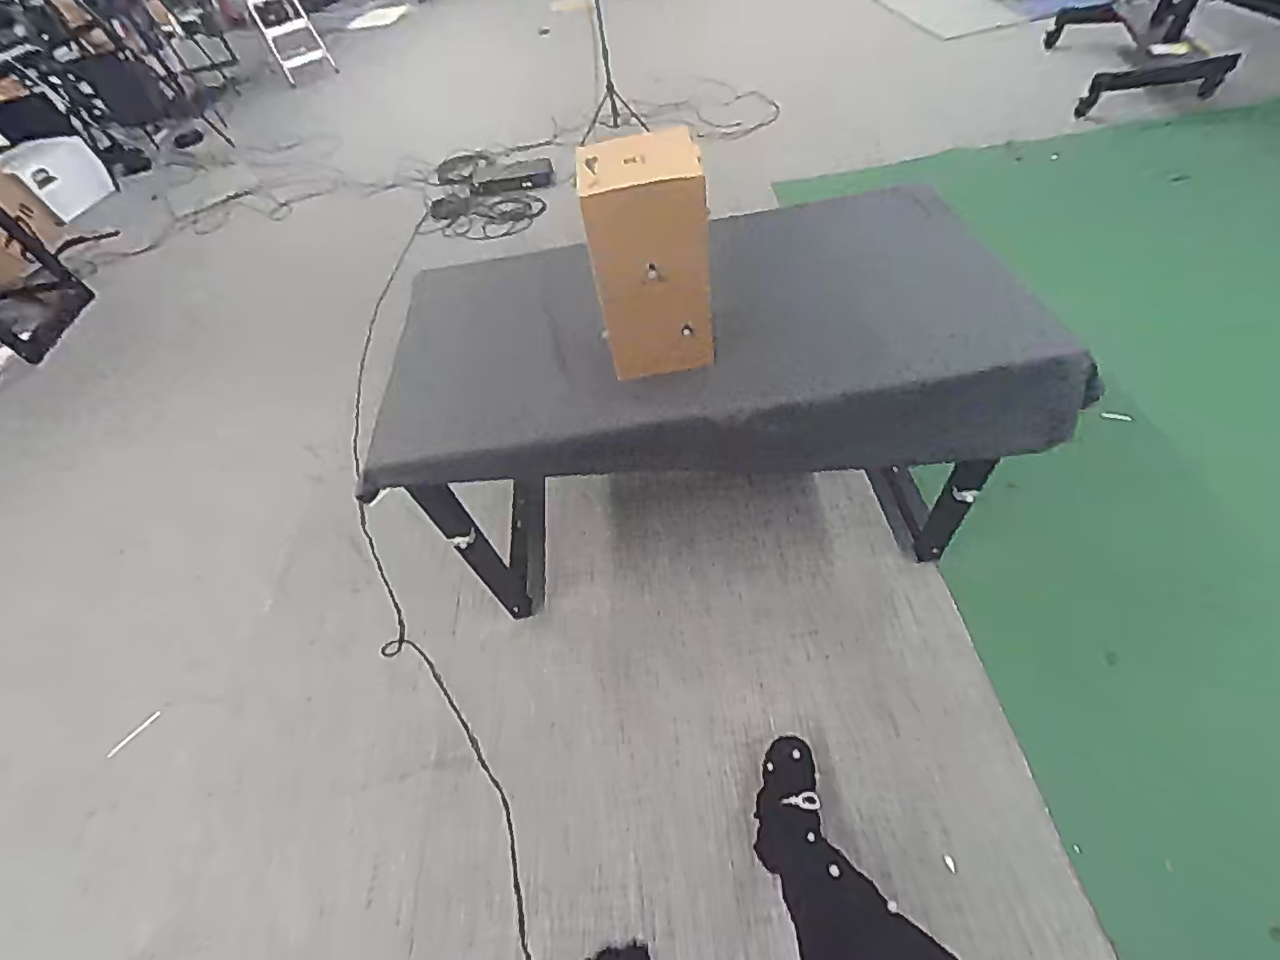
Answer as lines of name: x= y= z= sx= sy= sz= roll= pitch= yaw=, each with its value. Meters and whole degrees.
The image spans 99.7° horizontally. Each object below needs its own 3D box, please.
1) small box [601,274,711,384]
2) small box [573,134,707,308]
small box: x=0.028 y=-0.296 z=0.962 sx=0.179 sy=0.176 sz=0.168 roll=-11 pitch=51 yaw=4
small box: x=0.004 y=-0.394 z=0.836 sx=0.179 sy=0.176 sz=0.168 roll=-12 pitch=53 yaw=2
